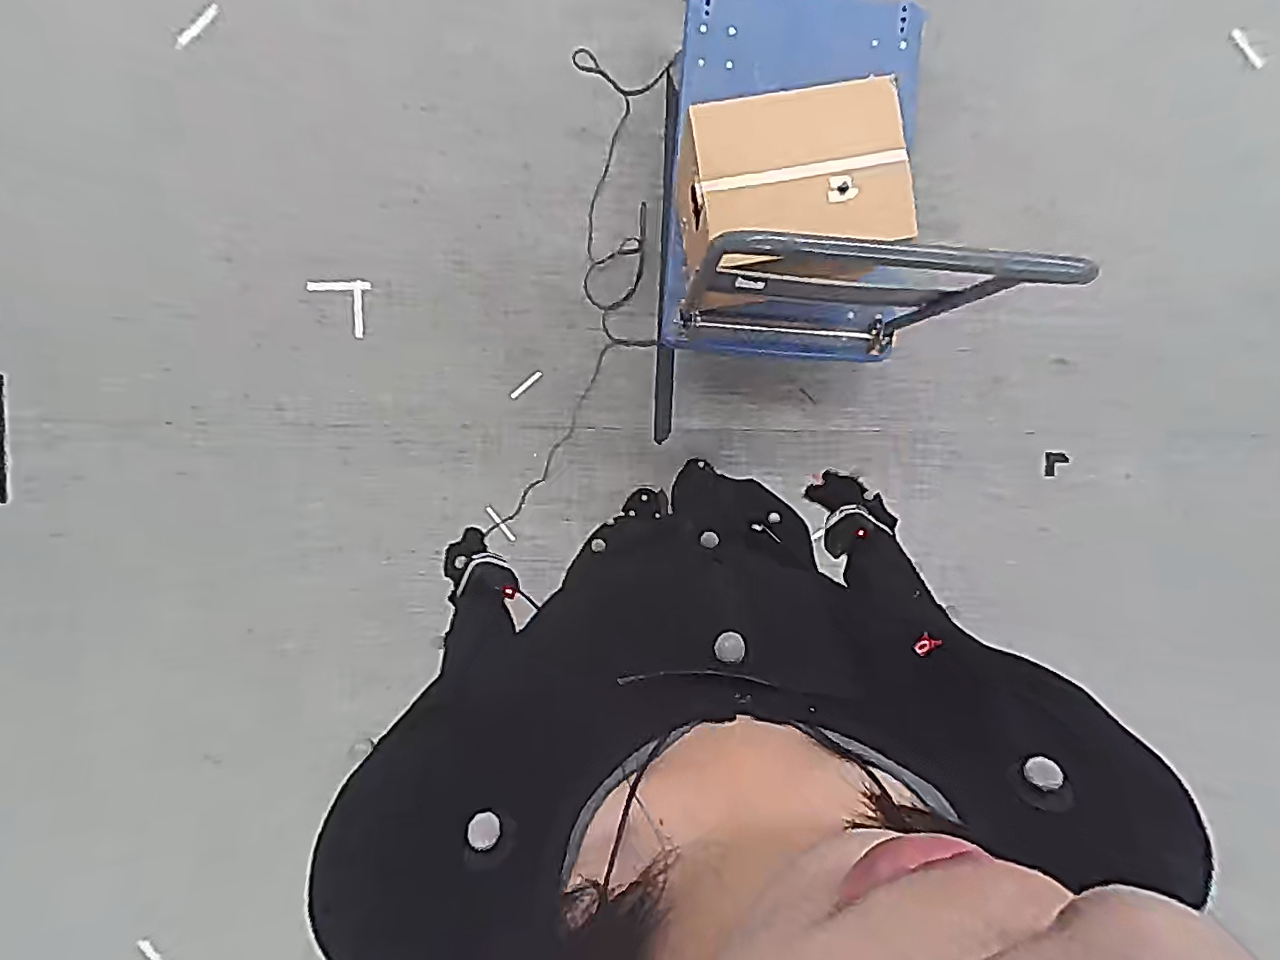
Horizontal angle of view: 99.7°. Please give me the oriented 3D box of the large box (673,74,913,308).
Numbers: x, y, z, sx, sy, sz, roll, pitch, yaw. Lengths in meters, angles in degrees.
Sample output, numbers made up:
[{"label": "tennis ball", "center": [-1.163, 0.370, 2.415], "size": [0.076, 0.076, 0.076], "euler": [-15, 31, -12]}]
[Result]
[{"label": "large box", "center": [0.306, -0.602, 1.188], "size": [0.408, 0.320, 0.320], "euler": [-10, 93, -2]}]
